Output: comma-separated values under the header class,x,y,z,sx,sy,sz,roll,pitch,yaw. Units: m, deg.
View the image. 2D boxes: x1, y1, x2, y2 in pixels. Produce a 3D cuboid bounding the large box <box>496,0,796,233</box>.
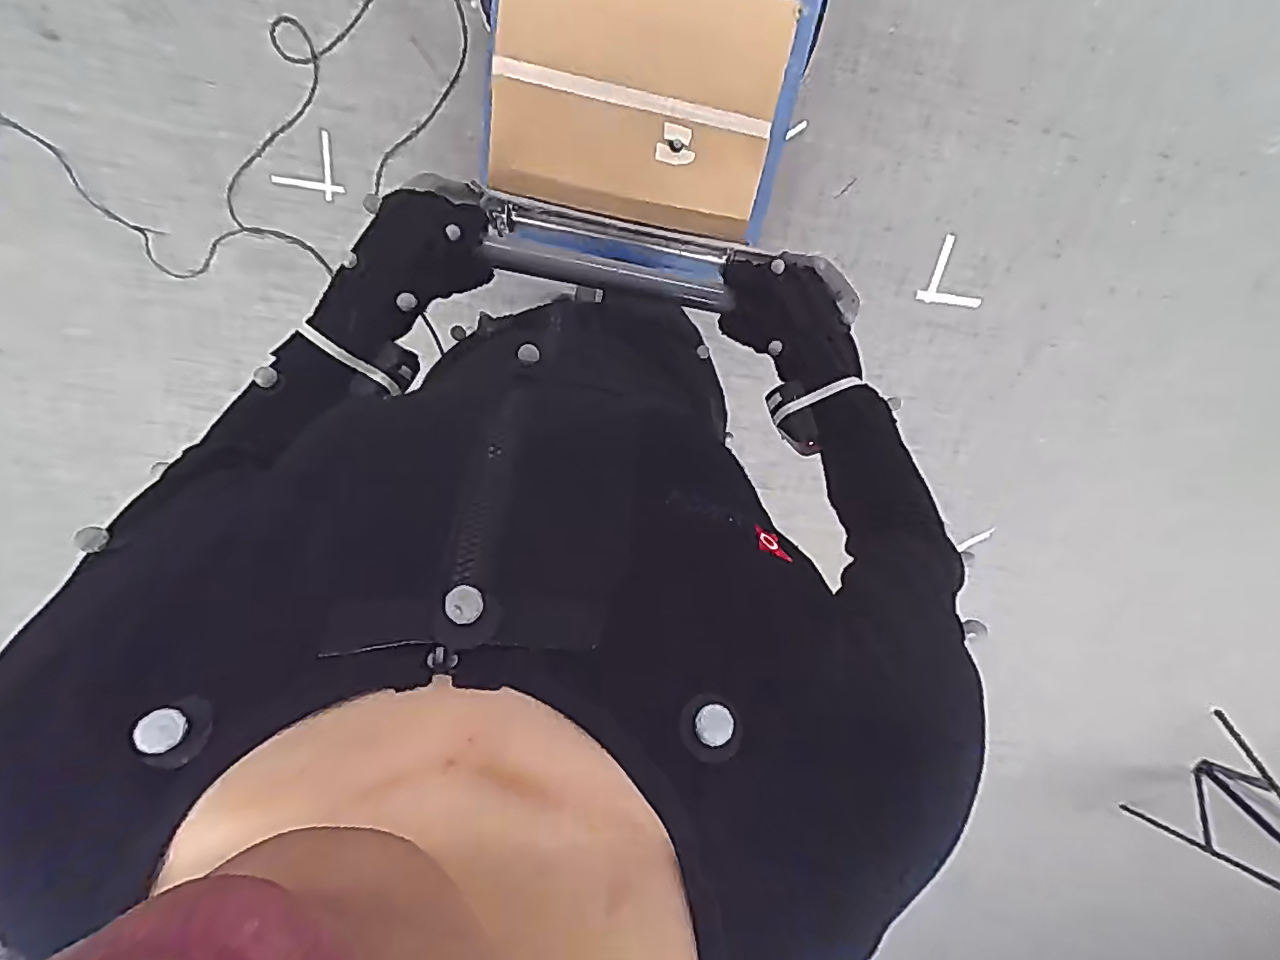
class,x,y,z,sx,sy,sz,roll,pitch,yaw
large box,-0.013,-0.625,0.924,0.408,0.320,0.320,8,115,-8
